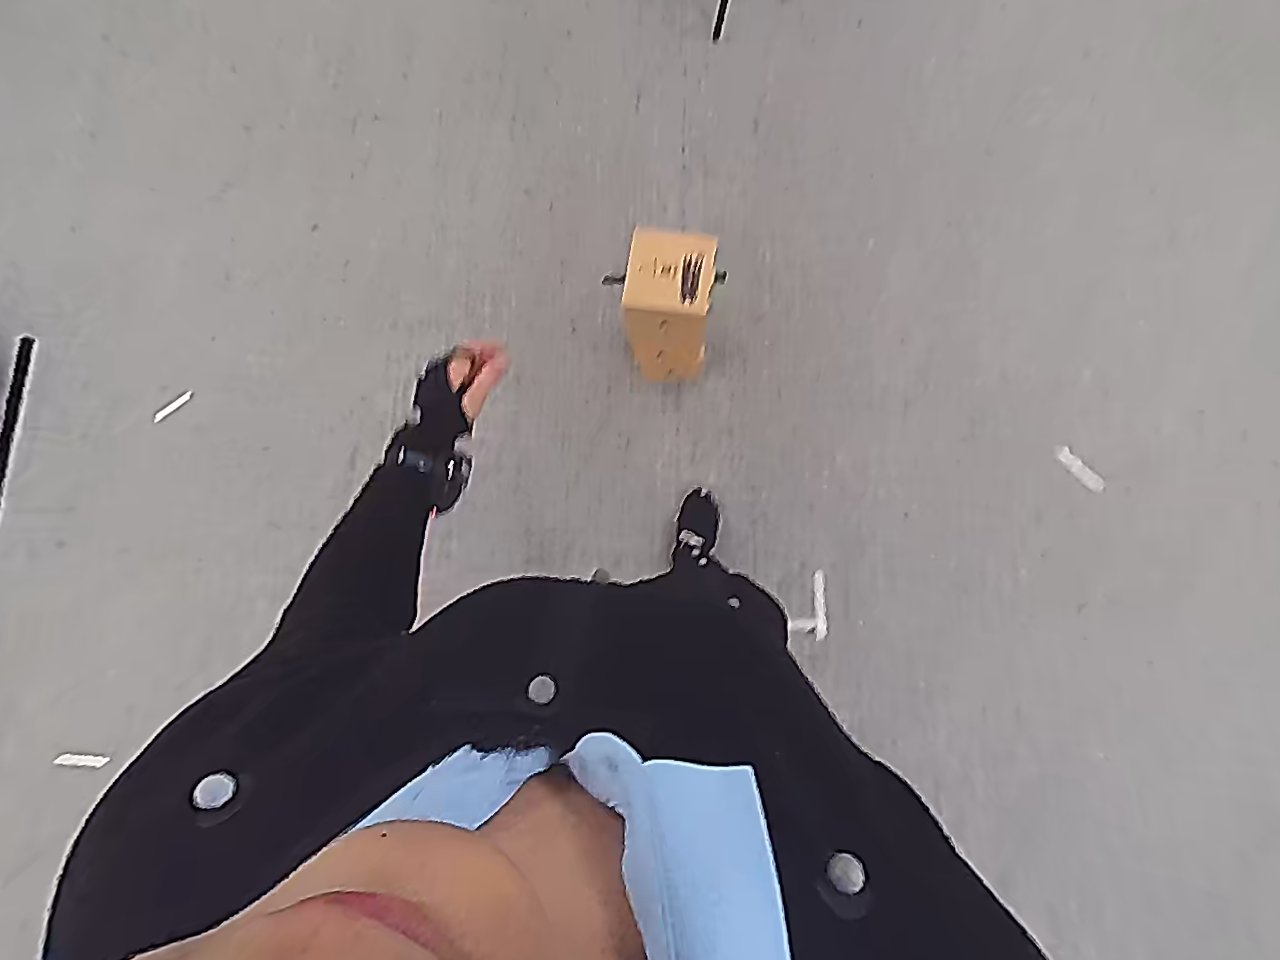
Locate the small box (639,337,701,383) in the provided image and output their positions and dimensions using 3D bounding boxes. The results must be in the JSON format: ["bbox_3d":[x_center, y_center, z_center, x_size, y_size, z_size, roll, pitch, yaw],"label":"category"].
[{"bbox_3d":[0.084,-0.372,1.485,0.168,0.176,0.179,0,81,3],"label":"small box"}]

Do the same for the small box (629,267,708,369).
[{"bbox_3d":[0.069,-0.391,1.324,0.168,0.176,0.179,6,83,4],"label":"small box"}]
